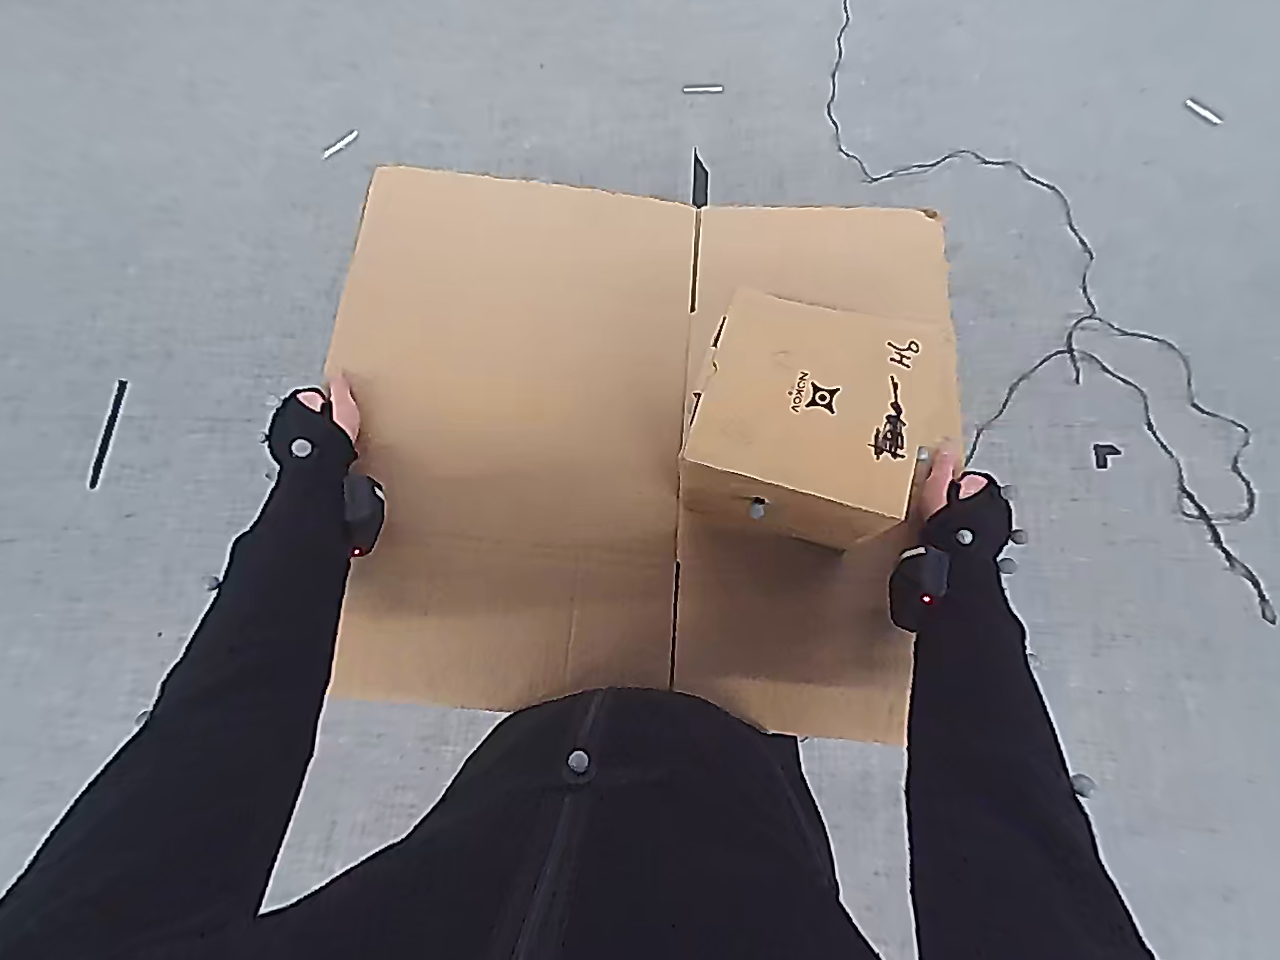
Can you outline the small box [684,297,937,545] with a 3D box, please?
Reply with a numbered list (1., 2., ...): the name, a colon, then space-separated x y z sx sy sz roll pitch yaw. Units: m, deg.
1. small box: 0.150 -0.045 0.522 0.179 0.176 0.168 15 76 10
